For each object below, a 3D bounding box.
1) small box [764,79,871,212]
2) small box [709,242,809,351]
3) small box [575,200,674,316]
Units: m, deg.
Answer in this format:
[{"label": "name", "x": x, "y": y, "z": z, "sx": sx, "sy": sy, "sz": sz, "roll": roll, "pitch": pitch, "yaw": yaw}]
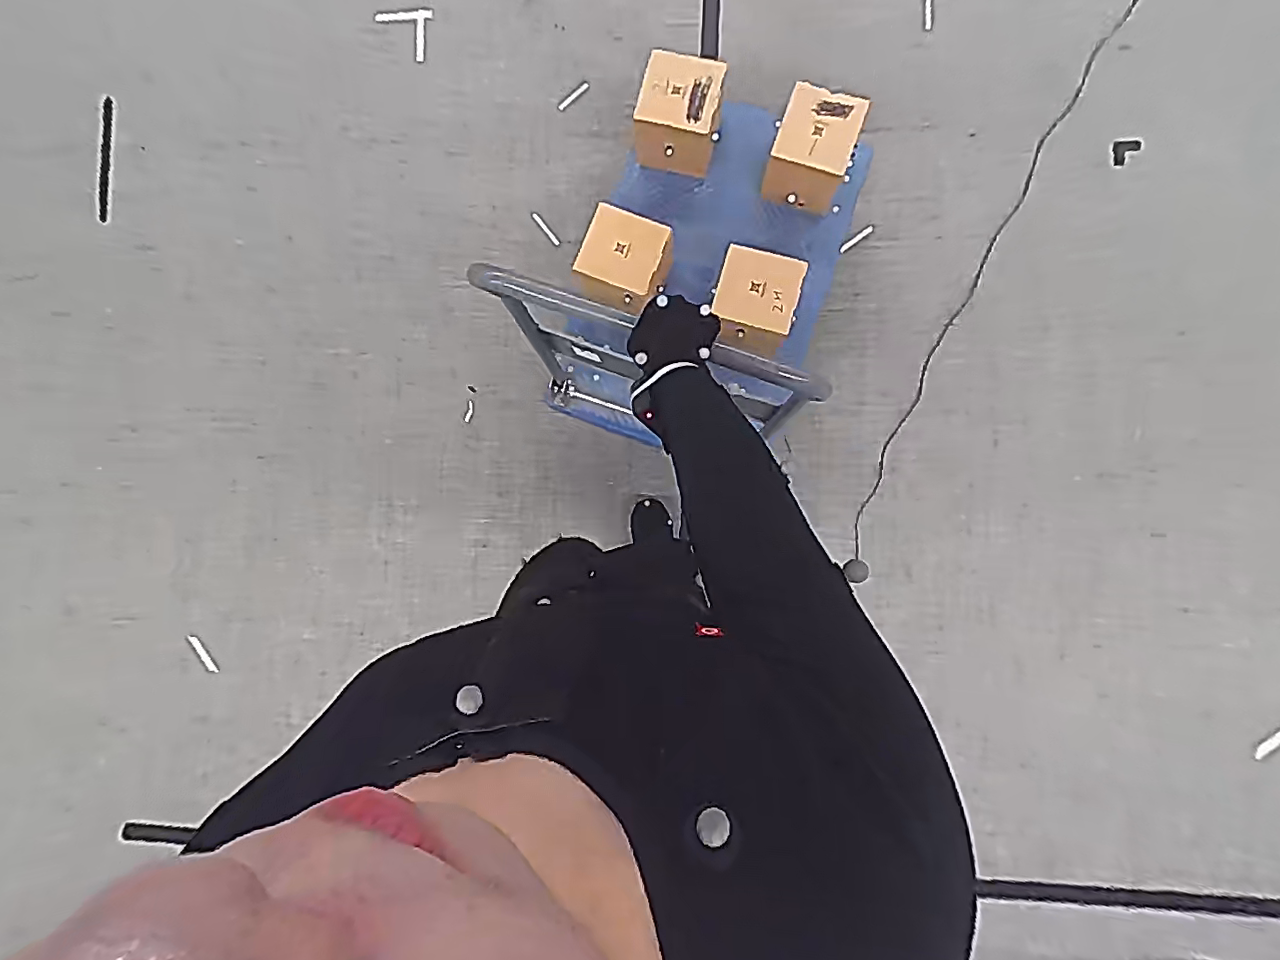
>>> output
[{"label": "small box", "x": 0.397, "y": -0.758, "z": 1.242, "sx": 0.168, "sy": 0.176, "sz": 0.179, "roll": 20, "pitch": 90, "yaw": 5}, {"label": "small box", "x": 0.262, "y": -0.410, "z": 1.236, "sx": 0.179, "sy": 0.176, "sz": 0.168, "roll": 17, "pitch": 89, "yaw": 5}, {"label": "small box", "x": -0.031, "y": -0.507, "z": 1.263, "sx": 0.179, "sy": 0.176, "sz": 0.168, "roll": 22, "pitch": 89, "yaw": 3}]
